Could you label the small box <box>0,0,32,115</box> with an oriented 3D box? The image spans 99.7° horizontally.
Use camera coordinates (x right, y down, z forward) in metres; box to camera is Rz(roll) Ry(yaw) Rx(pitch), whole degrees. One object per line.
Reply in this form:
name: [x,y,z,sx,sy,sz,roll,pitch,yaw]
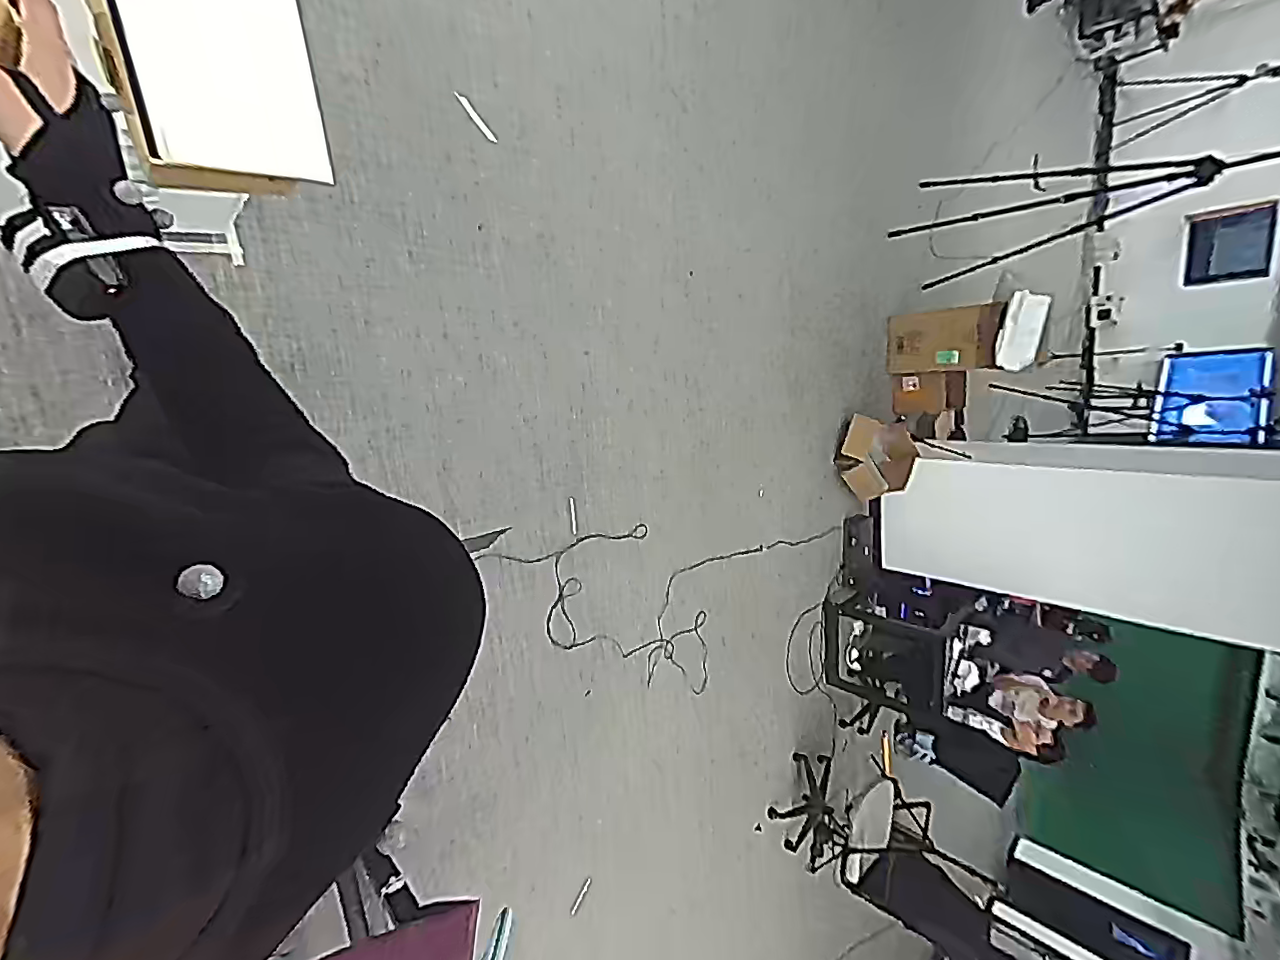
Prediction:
small box: [-0.546,-0.360,0.349,0.168,0.176,0.179,-19,125,-46]
